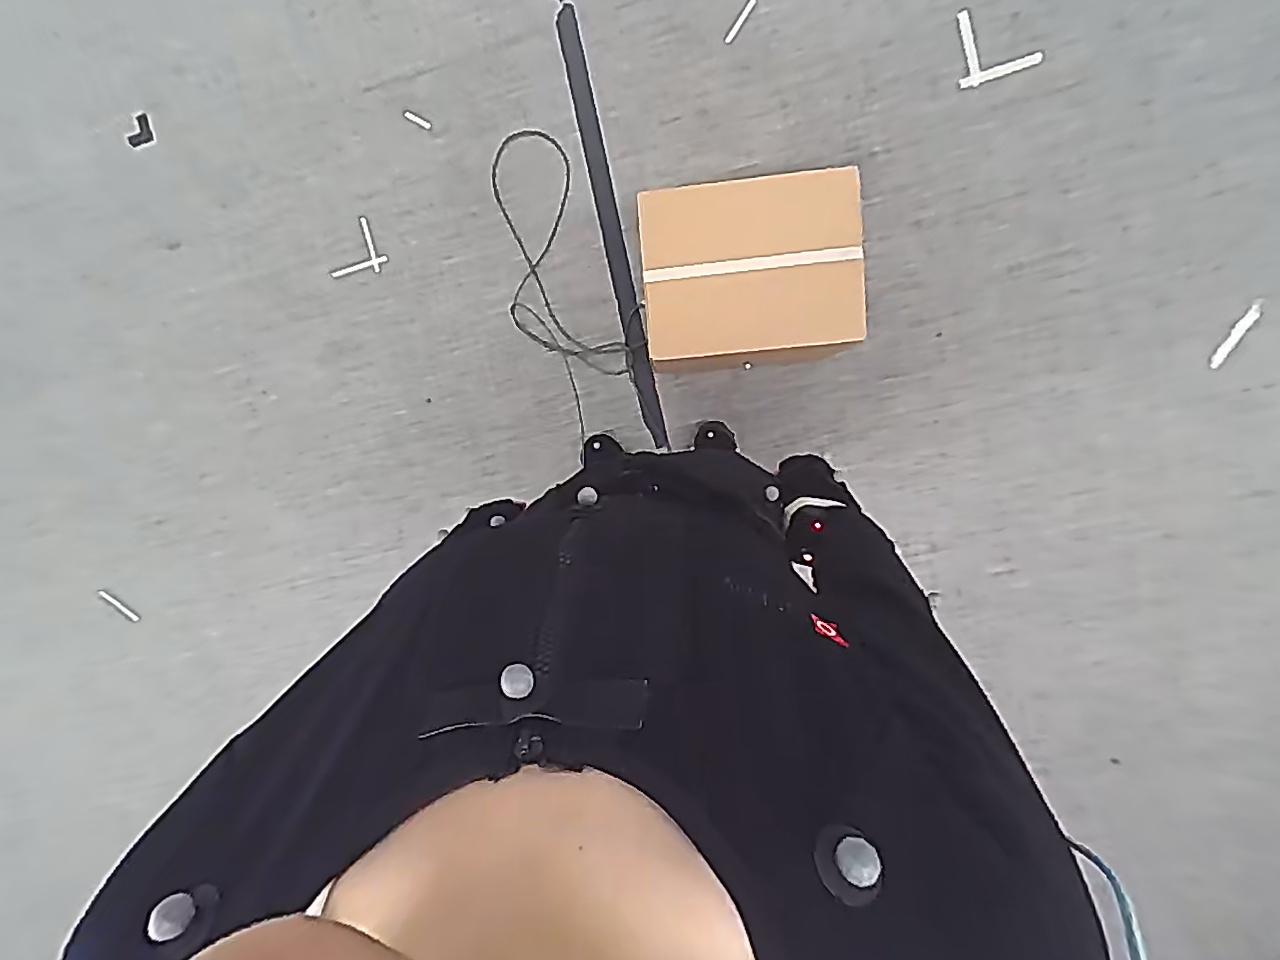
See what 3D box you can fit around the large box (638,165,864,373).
[{"bbox_3d":[0.218,-0.419,1.159,0.408,0.320,0.320,-5,96,5],"label":"large box"}]
